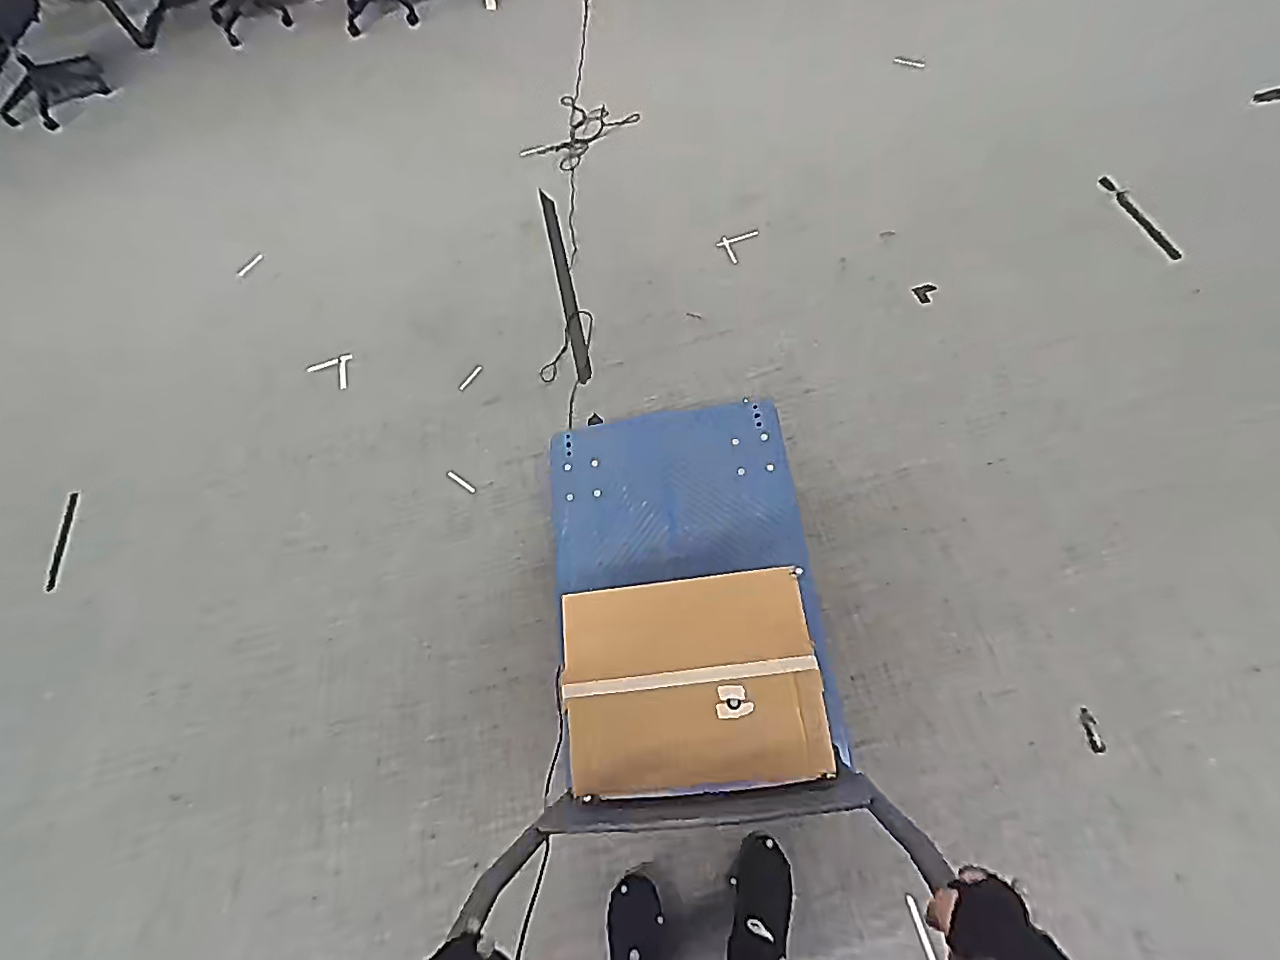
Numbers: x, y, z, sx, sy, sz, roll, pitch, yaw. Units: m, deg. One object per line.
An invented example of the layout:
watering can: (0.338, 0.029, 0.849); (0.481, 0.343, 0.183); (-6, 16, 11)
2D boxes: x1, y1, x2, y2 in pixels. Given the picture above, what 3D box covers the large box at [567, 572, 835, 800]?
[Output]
large box: (0.100, 0.378, 1.016); (0.408, 0.320, 0.320); (-8, 70, 5)
